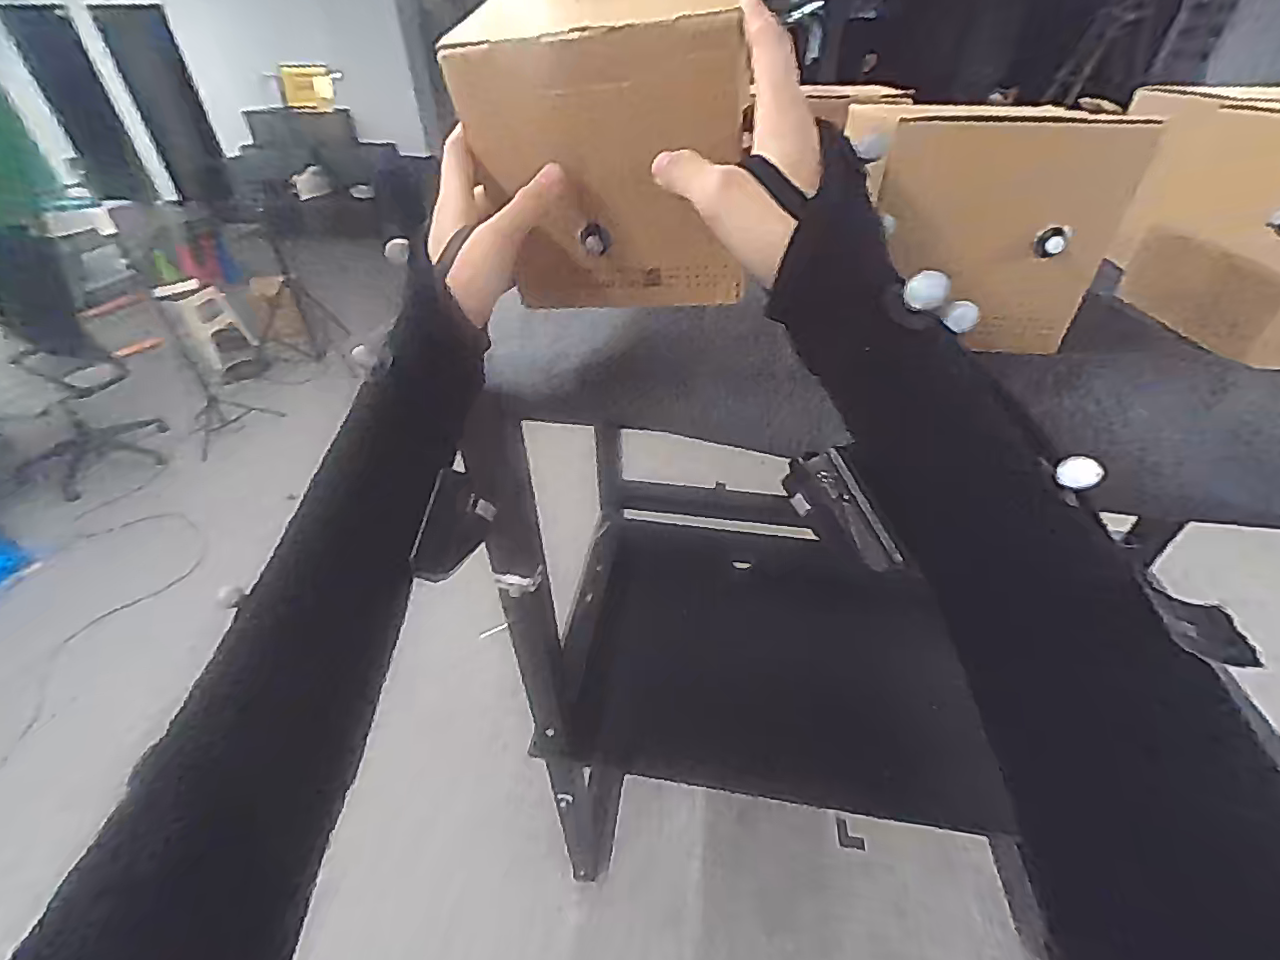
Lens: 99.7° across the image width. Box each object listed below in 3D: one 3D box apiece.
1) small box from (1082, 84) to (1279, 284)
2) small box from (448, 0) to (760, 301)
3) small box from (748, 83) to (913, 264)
[{"bbox_3d":[0.649,-0.333,0.602,0.168,0.176,0.179,6,38,9],"label":"small box"},{"bbox_3d":[-0.002,-0.250,0.386,0.168,0.176,0.179,2,54,11],"label":"small box"},{"bbox_3d":[0.206,-0.373,0.657,0.168,0.176,0.179,6,38,8],"label":"small box"}]
